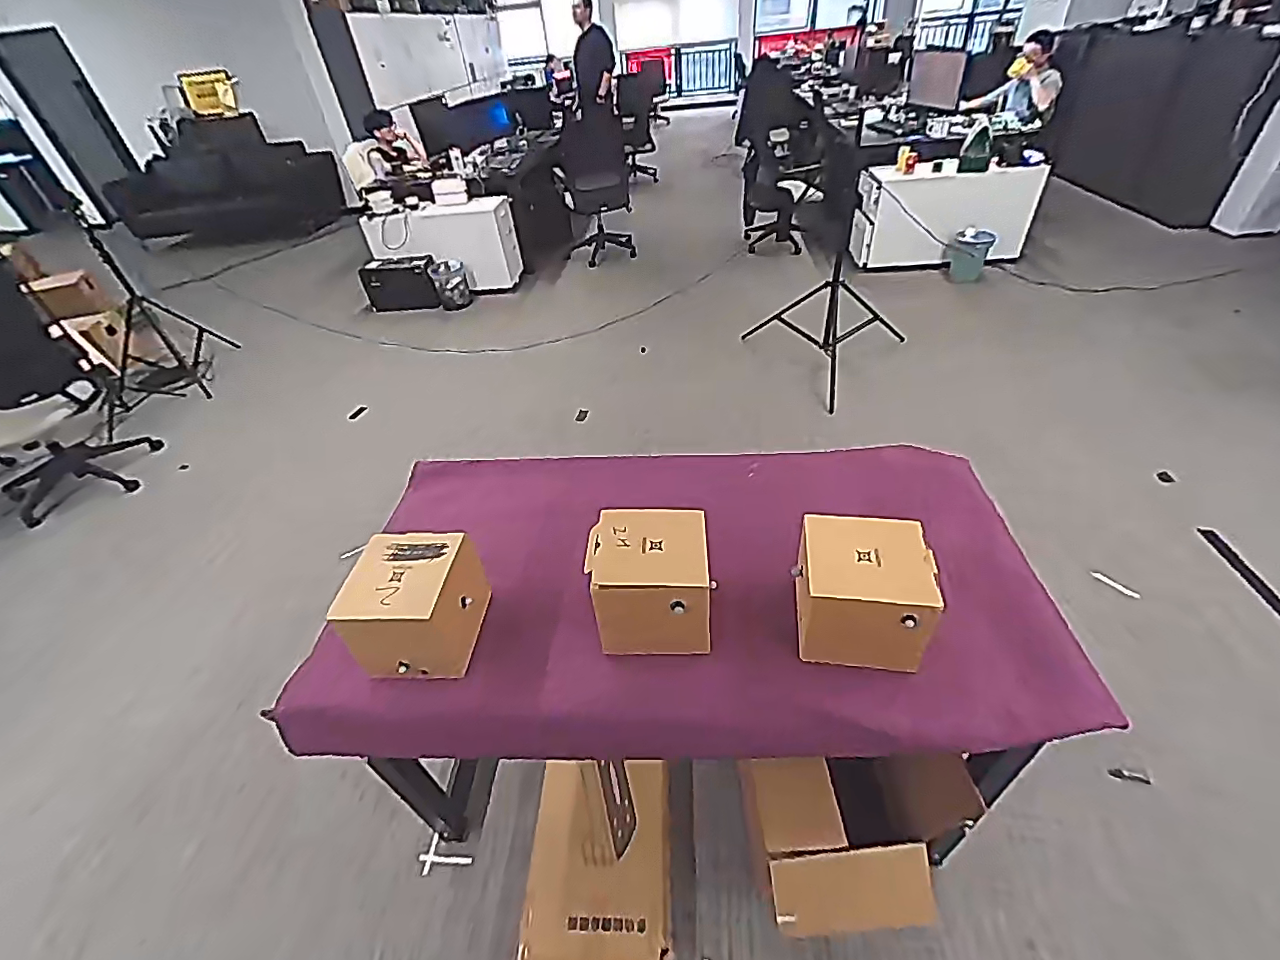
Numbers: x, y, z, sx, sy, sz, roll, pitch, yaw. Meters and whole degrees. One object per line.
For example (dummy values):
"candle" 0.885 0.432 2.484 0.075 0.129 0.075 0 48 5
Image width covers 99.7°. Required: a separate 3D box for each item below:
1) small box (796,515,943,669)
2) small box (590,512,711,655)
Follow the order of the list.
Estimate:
"small box" 0.339 0.173 0.840 0.179 0.176 0.168 2 41 10
"small box" 0.024 0.170 0.886 0.179 0.176 0.168 -3 38 5
